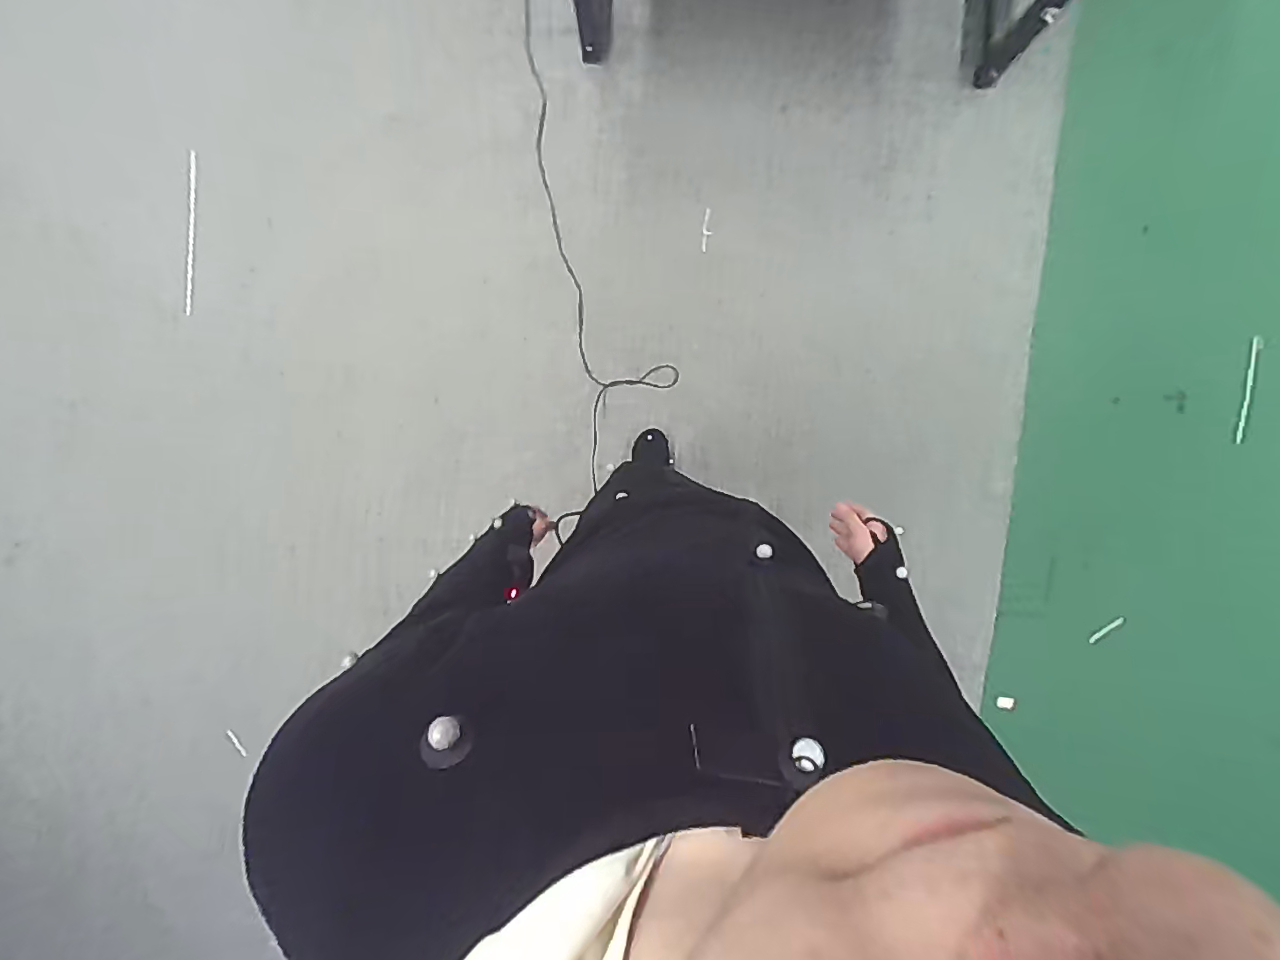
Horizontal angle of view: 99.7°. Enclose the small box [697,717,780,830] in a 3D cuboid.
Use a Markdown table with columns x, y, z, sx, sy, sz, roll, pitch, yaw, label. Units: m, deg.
| x | y | z | sx | sy | sz | roll | pitch | yaw | label |
| --- | --- | --- | --- | --- | --- | --- | --- | --- | --- |
| 0.239 | 0.728 | 1.354 | 0.168 | 0.176 | 0.179 | 7 | 94 | 0 | small box |
